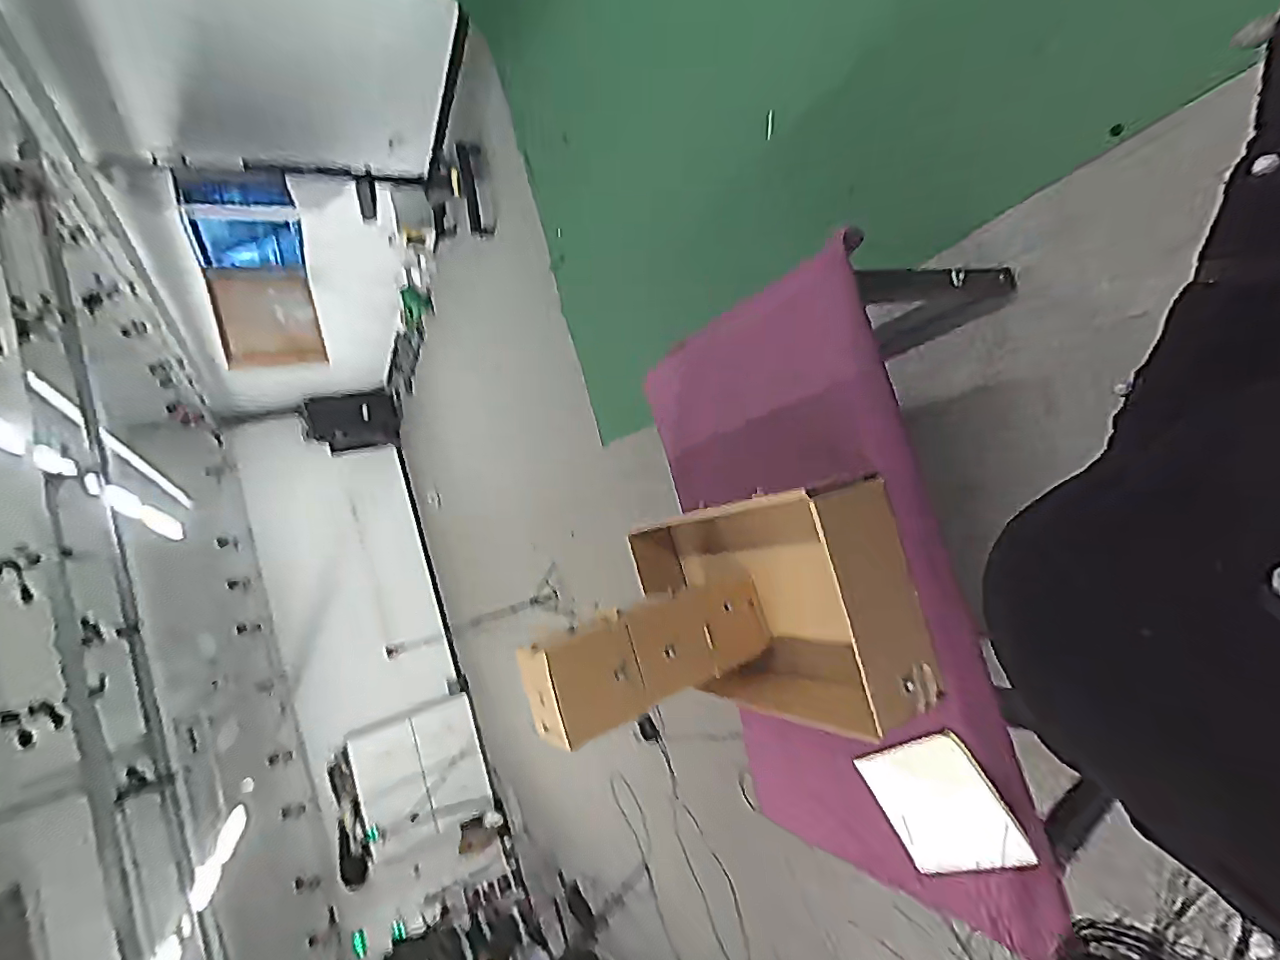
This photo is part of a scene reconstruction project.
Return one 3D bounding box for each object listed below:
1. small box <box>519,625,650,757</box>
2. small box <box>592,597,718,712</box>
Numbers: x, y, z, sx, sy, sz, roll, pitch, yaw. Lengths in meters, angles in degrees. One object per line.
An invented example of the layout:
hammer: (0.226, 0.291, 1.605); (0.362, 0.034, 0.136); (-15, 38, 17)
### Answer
small box: (-0.105, 0.383, 1.021); (0.168, 0.176, 0.179); (-22, 82, 58)
small box: (0.030, 0.345, 1.106); (0.168, 0.176, 0.179); (-26, 80, 57)
